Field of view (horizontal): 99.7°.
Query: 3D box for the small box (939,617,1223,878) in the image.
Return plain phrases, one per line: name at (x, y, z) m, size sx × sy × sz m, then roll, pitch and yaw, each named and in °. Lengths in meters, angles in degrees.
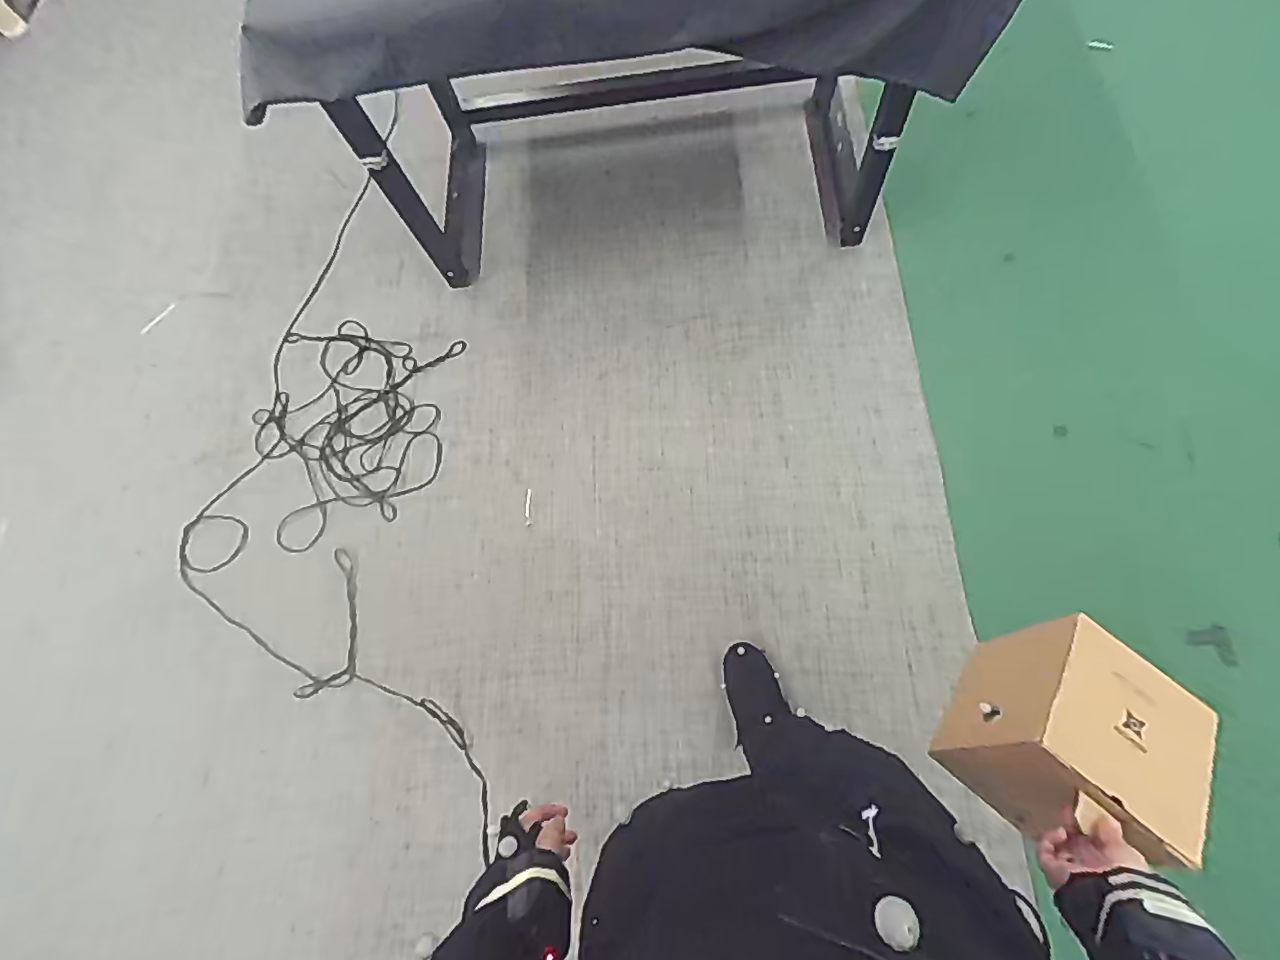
small box at (0.472, 0.289, 0.600) m, size 0.168 × 0.176 × 0.179 m, roll 40°, pitch 59°, yaw 9°
